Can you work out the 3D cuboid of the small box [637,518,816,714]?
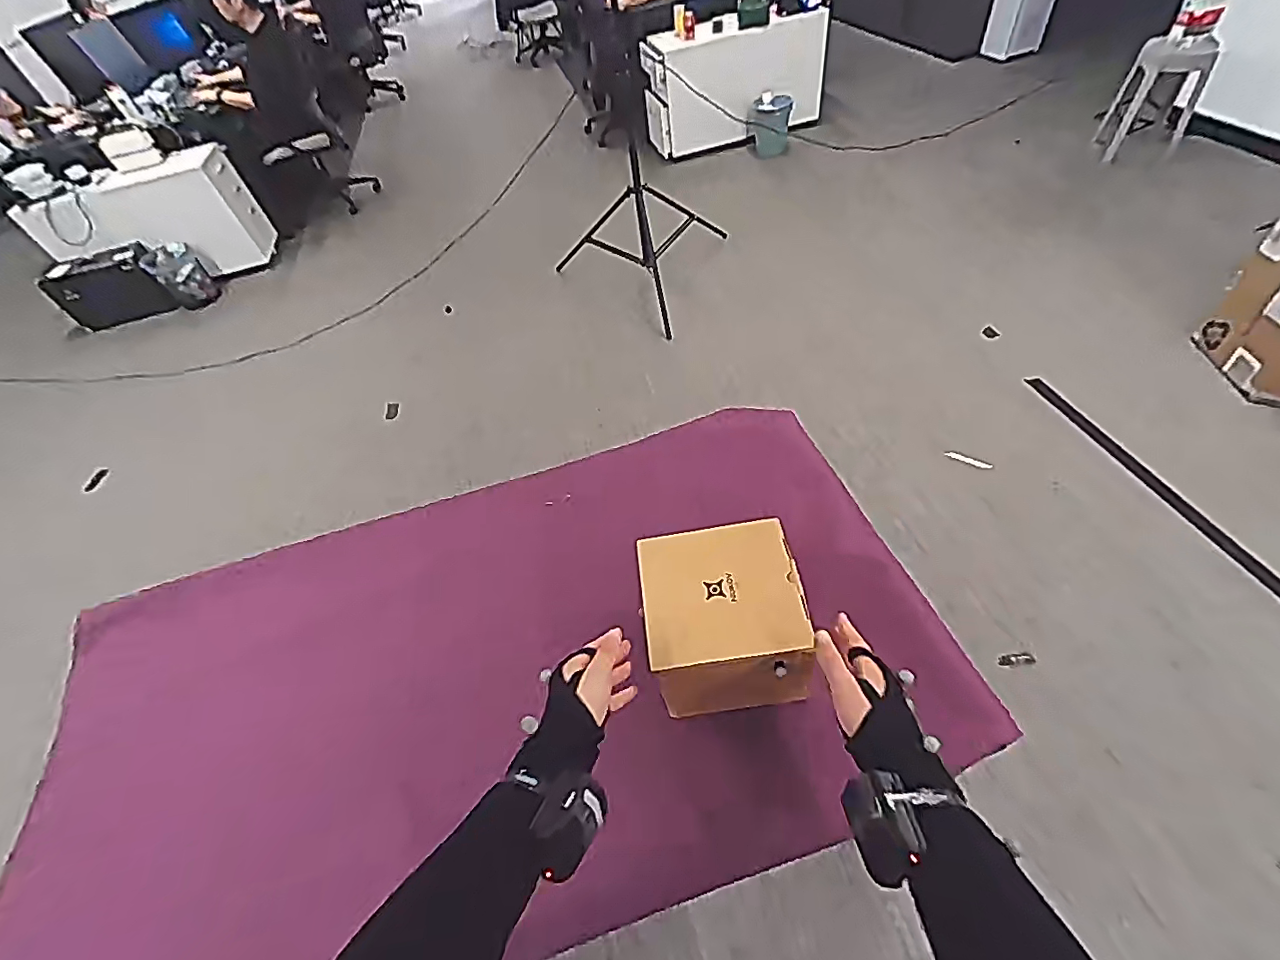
[{"bbox_3d":[0.102,0.173,0.665,0.179,0.176,0.168,-10,50,3],"label":"small box"}]
